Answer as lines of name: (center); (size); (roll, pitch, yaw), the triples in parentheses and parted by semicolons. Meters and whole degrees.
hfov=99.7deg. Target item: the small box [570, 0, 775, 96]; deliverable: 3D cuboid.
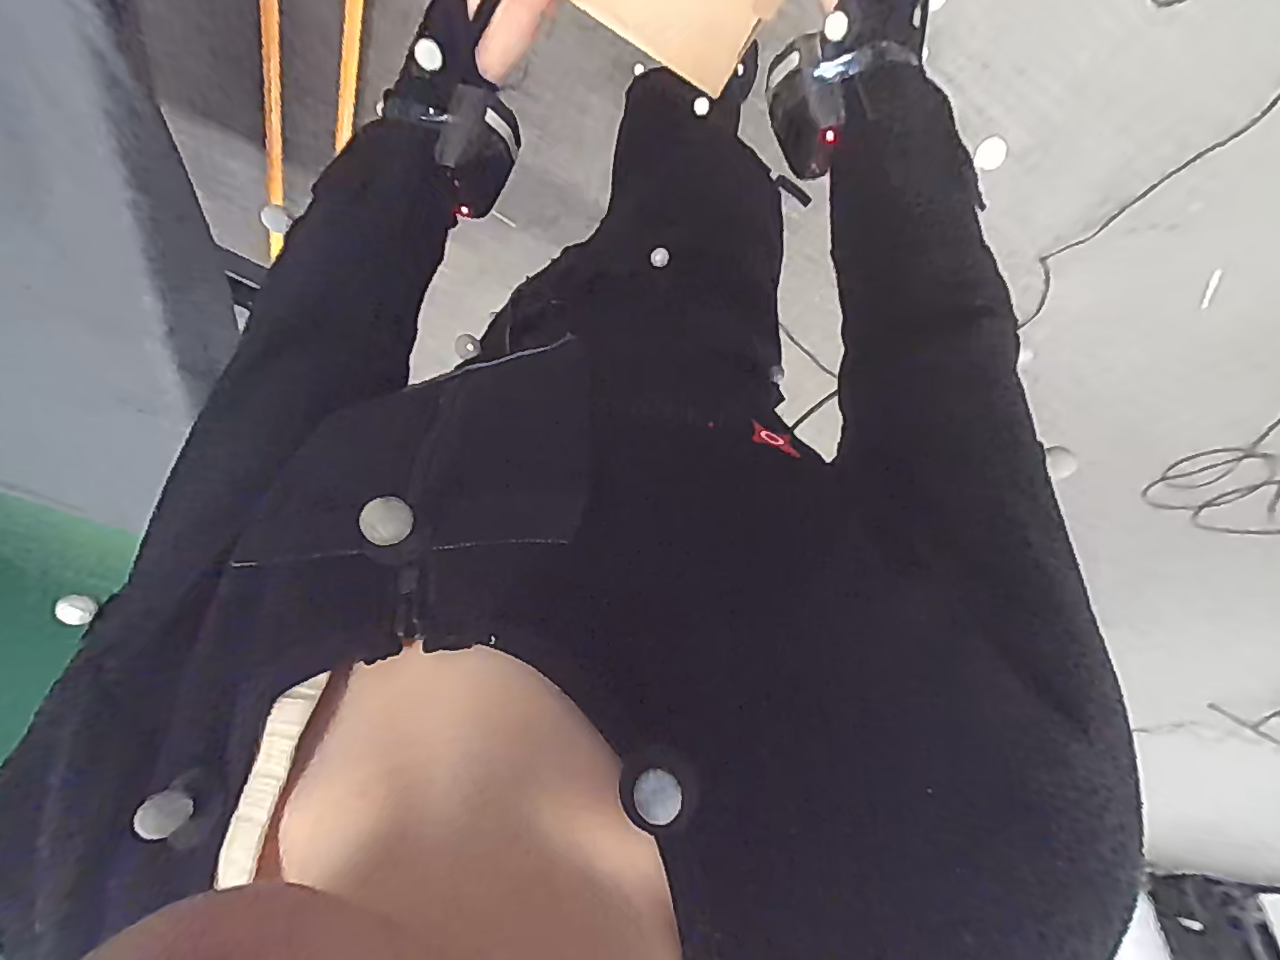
small box: (0.033, -0.437, 0.388); (0.179, 0.176, 0.168); (22, 144, -18)
